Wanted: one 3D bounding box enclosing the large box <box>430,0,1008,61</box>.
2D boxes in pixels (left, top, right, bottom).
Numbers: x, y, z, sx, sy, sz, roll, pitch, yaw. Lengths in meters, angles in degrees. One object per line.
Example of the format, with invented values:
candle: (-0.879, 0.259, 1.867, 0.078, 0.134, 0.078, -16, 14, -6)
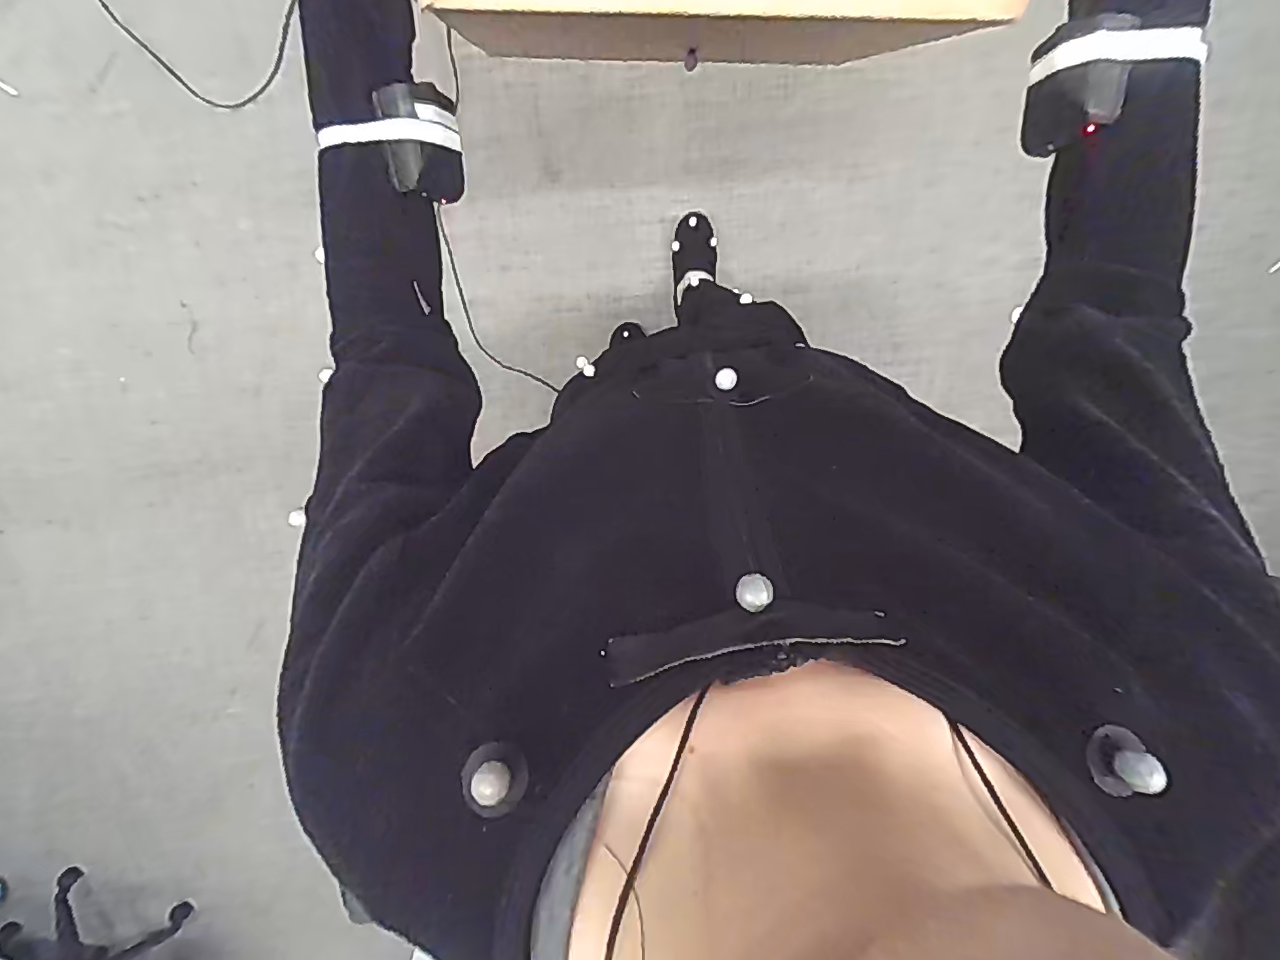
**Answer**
large box: (0.048, -0.523, 0.410, 0.408, 0.320, 0.320, -3, 123, -4)
